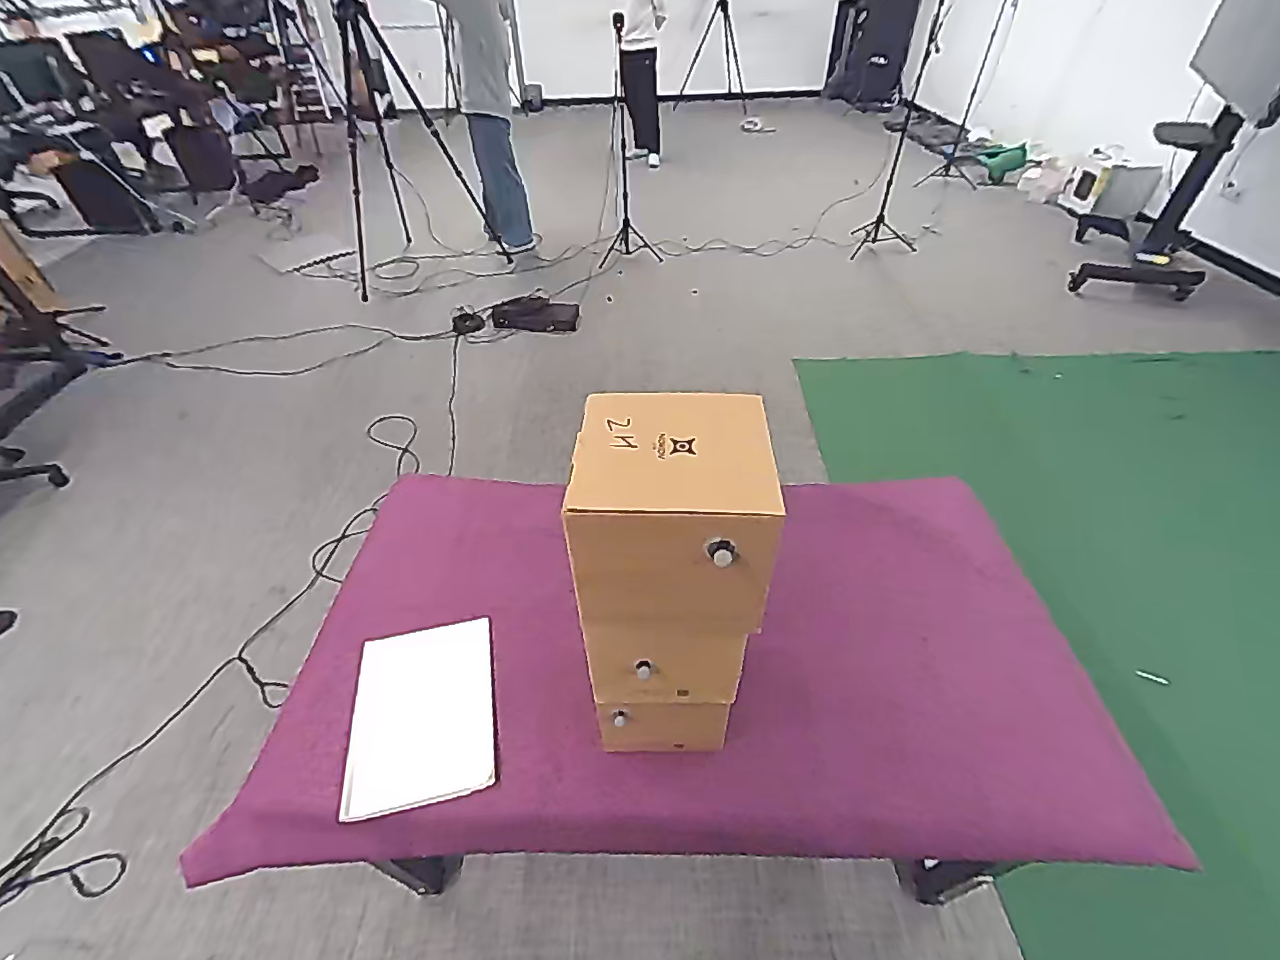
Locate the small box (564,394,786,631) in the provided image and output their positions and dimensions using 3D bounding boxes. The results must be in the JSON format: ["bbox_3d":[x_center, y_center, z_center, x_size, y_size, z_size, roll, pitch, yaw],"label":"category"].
[{"bbox_3d":[0.033,0.033,0.531,0.179,0.176,0.168,1,42,3],"label":"small box"}]

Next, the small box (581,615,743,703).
[{"bbox_3d":[0.028,0.150,0.648,0.168,0.176,0.179,0,42,2],"label":"small box"}]
